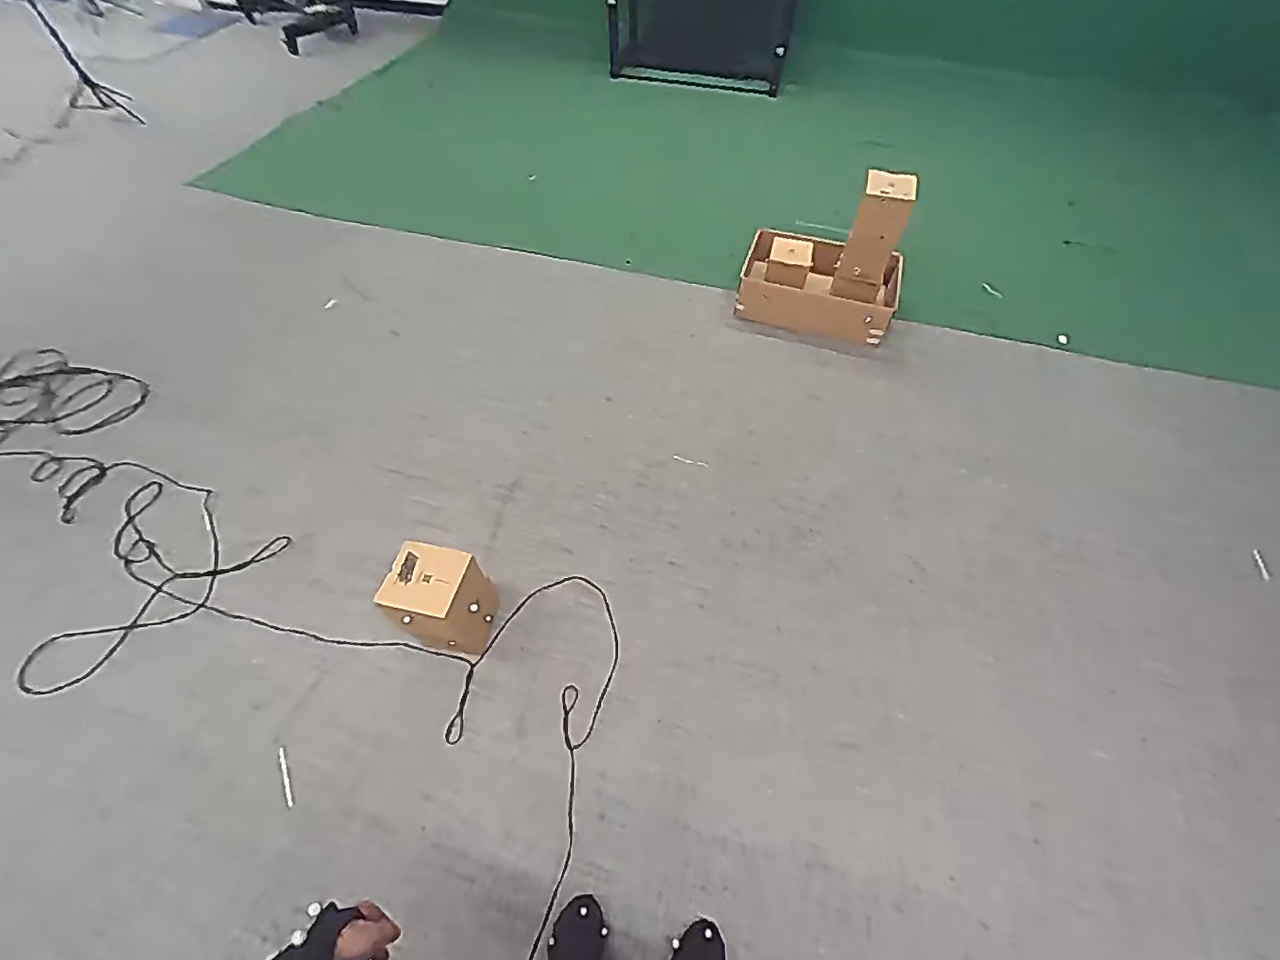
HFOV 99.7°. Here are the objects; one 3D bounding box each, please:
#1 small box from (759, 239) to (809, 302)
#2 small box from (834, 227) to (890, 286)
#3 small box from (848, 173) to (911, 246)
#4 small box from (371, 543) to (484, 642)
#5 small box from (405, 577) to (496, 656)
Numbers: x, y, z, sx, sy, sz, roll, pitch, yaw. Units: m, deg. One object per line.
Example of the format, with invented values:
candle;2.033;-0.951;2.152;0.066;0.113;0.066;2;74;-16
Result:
small box;0.608;-0.888;2.294;0.168;0.176;0.179;12;56;7
small box;0.864;-0.885;2.093;0.168;0.176;0.179;16;58;12
small box;0.863;-0.979;1.959;0.168;0.176;0.179;14;55;11
small box;-0.501;0.275;1.303;0.179;0.176;0.168;10;55;6
small box;-0.502;0.357;1.446;0.179;0.176;0.168;7;54;5
